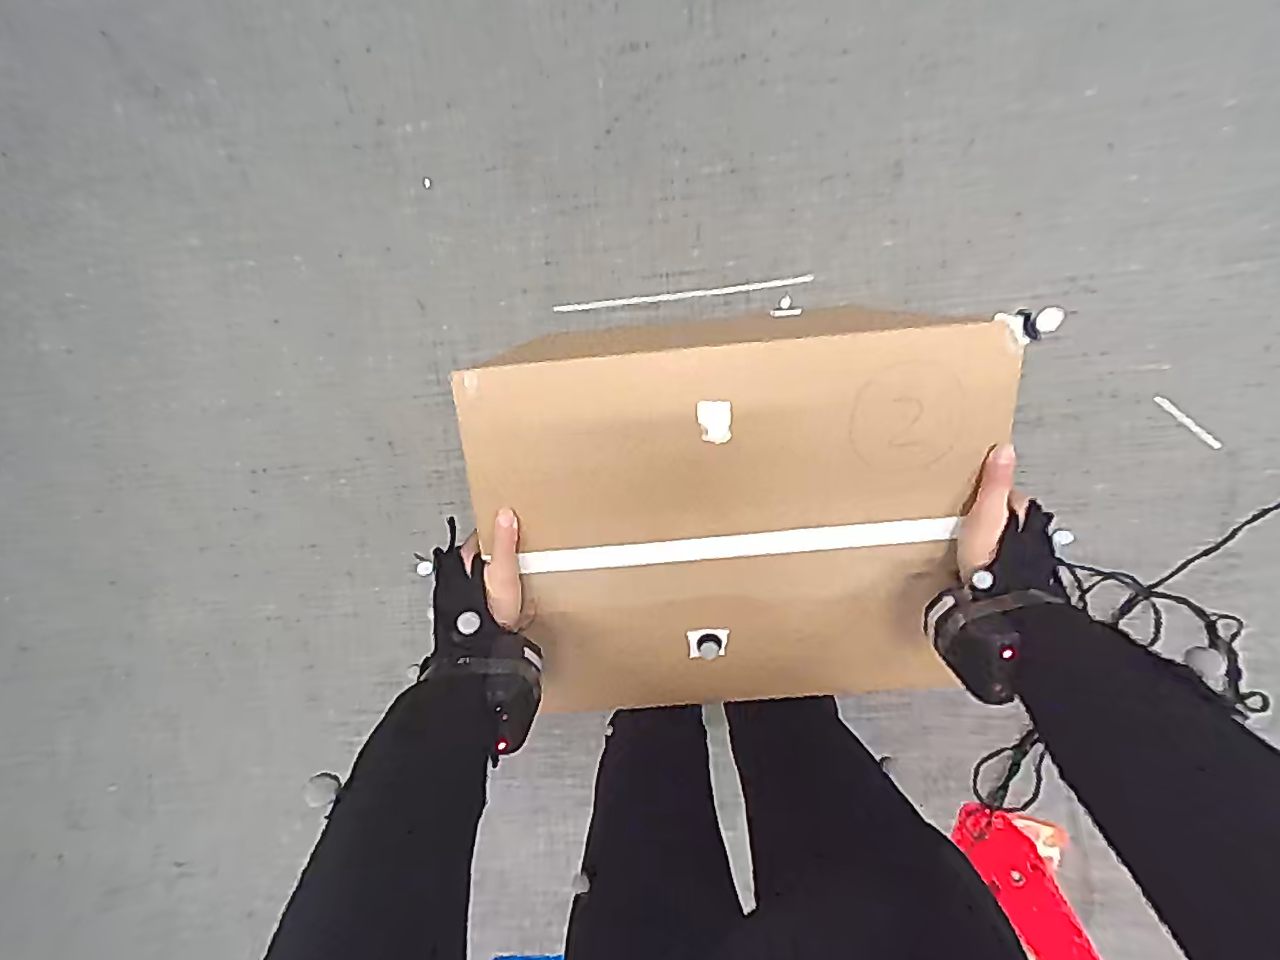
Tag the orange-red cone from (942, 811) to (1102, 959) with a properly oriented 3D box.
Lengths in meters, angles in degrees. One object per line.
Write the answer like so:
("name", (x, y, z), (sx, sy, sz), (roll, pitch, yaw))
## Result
("orange-red cone", (0.680, 0.754, 0.855), (0.199, 0.360, 0.198), (16, 98, 3))
